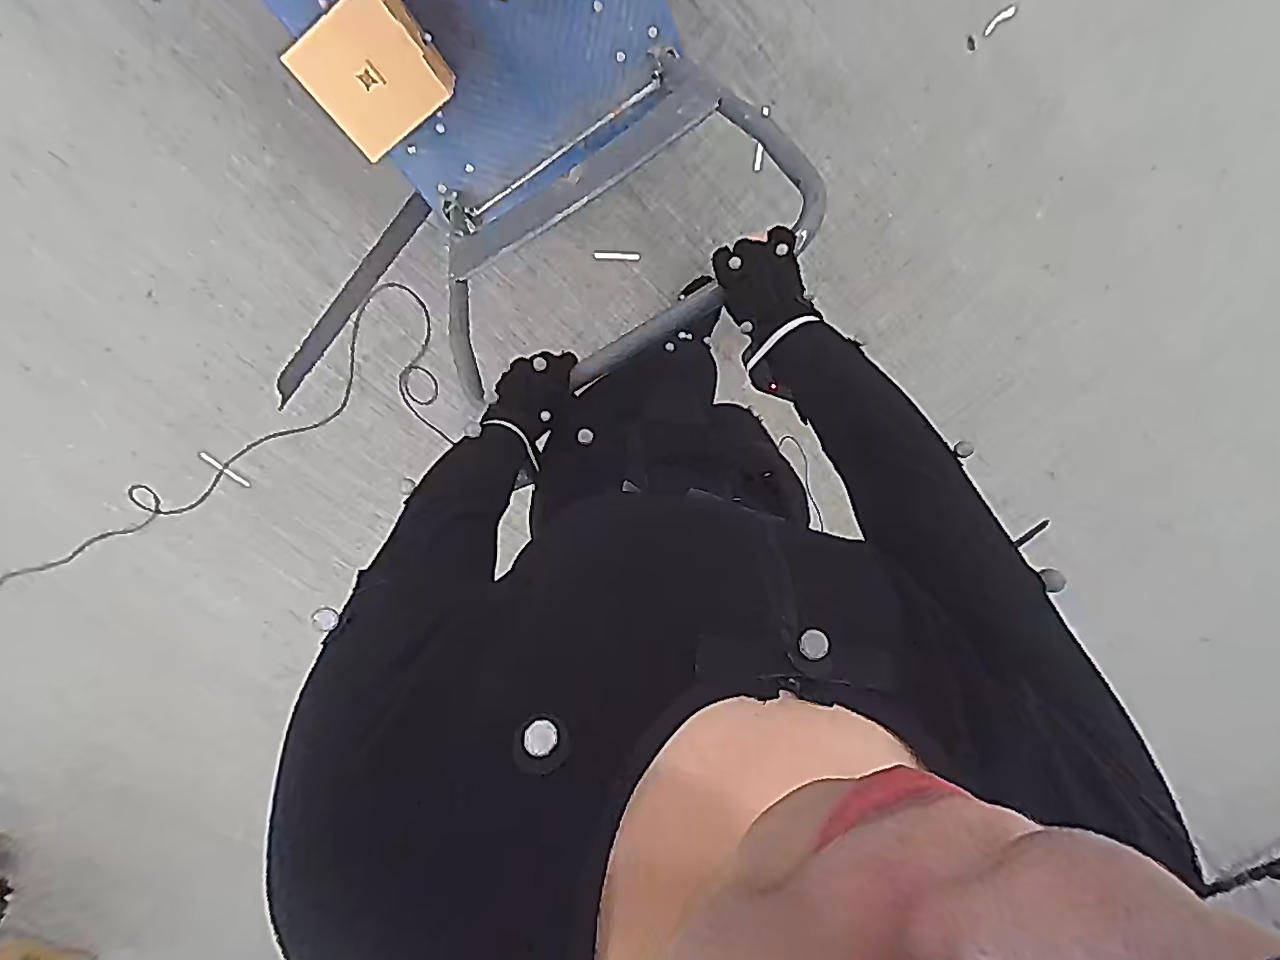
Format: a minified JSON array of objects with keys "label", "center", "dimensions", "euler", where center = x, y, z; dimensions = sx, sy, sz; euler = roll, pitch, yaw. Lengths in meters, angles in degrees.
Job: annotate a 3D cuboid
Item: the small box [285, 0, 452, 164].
[{"label":"small box","center":[-0.425,-0.661,0.880],"dimensions":[0.179,0.176,0.168],"euler":[-32,133,13]}]
